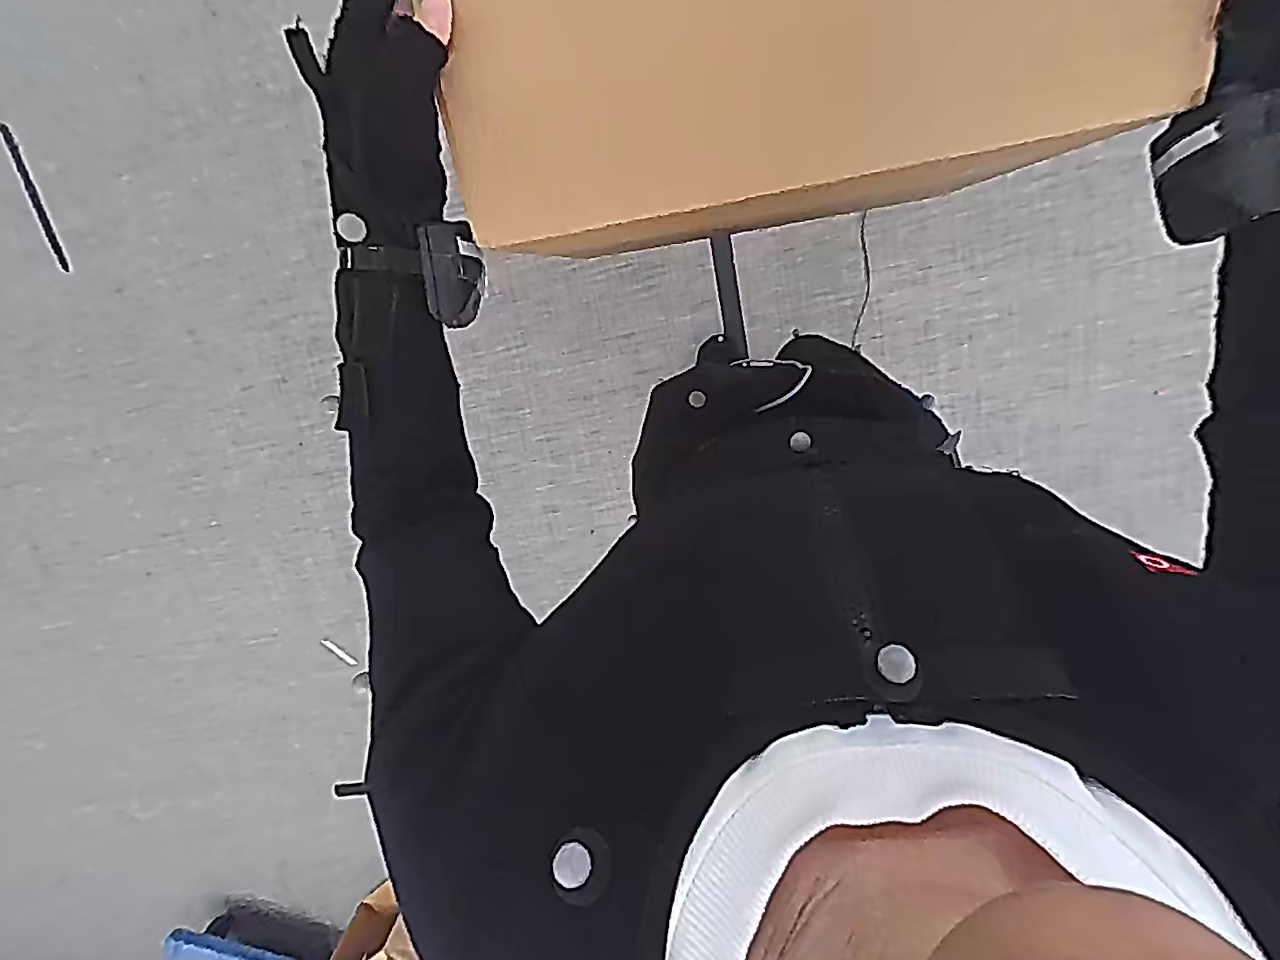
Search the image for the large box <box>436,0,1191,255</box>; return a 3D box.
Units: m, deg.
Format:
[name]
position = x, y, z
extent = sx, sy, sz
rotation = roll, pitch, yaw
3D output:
[large box]
position = 0.085, -0.379, 0.413
extent = 0.408, 0.320, 0.320
rotation = -7, 110, 9
